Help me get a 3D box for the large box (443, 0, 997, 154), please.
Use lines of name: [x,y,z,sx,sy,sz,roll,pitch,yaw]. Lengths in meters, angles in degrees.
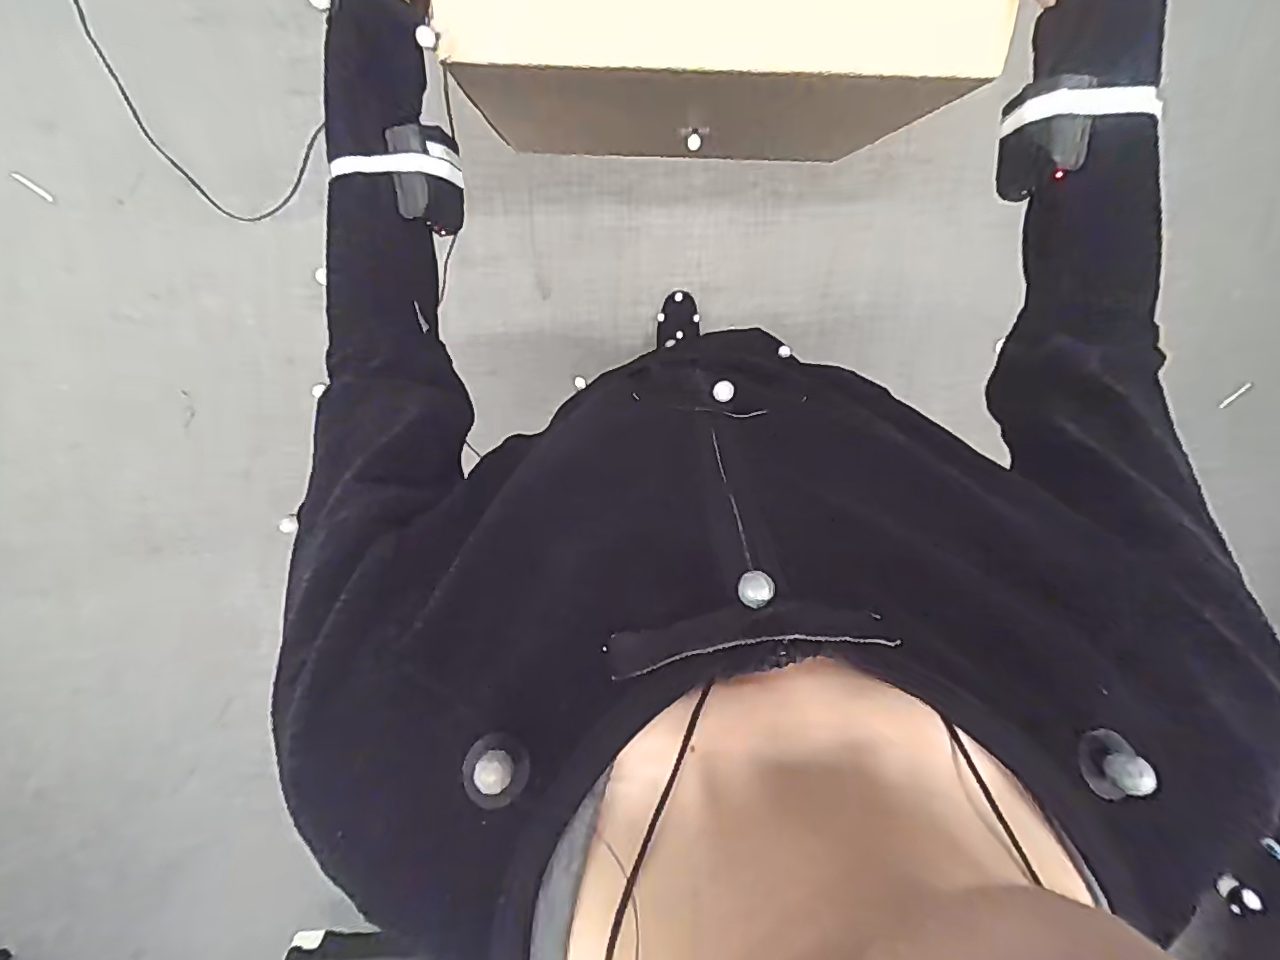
large box: [0.056,-0.494,0.483,0.408,0.320,0.320,0,110,-2]
